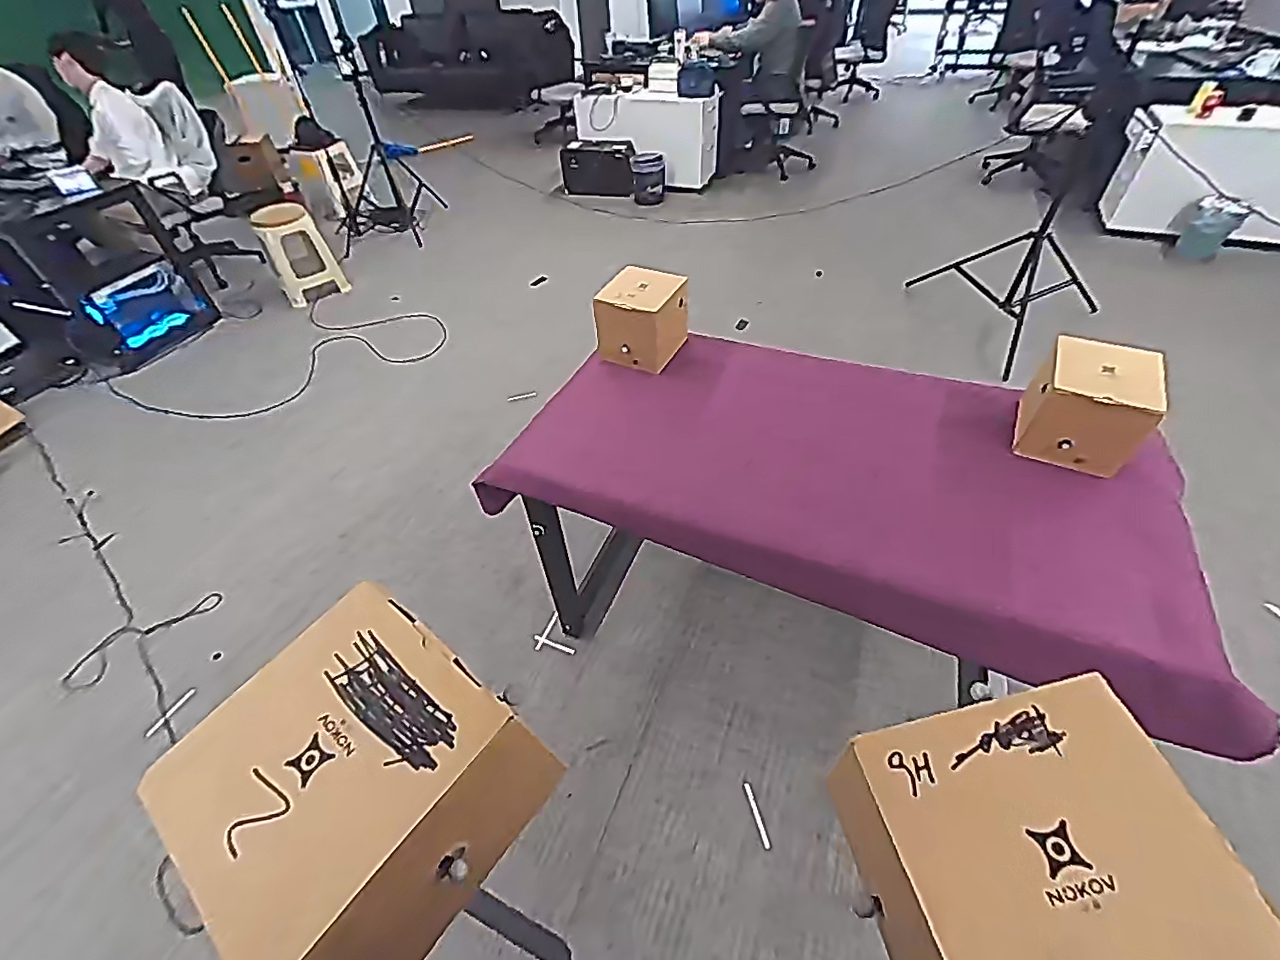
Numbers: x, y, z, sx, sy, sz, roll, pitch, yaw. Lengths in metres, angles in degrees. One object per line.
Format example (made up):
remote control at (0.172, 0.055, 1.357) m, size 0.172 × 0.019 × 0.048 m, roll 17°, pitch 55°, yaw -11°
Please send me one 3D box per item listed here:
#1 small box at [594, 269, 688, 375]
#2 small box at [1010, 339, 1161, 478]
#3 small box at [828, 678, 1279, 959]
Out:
small box at (0.006, -0.387, 1.323) m, size 0.168 × 0.176 × 0.179 m, roll 19°, pitch 52°, yaw 21°
small box at (0.838, -0.136, 1.033) m, size 0.168 × 0.176 × 0.179 m, roll 19°, pitch 55°, yaw 21°
small box at (0.243, 0.259, 0.361) m, size 0.168 × 0.176 × 0.179 m, roll -15°, pitch 53°, yaw 0°
